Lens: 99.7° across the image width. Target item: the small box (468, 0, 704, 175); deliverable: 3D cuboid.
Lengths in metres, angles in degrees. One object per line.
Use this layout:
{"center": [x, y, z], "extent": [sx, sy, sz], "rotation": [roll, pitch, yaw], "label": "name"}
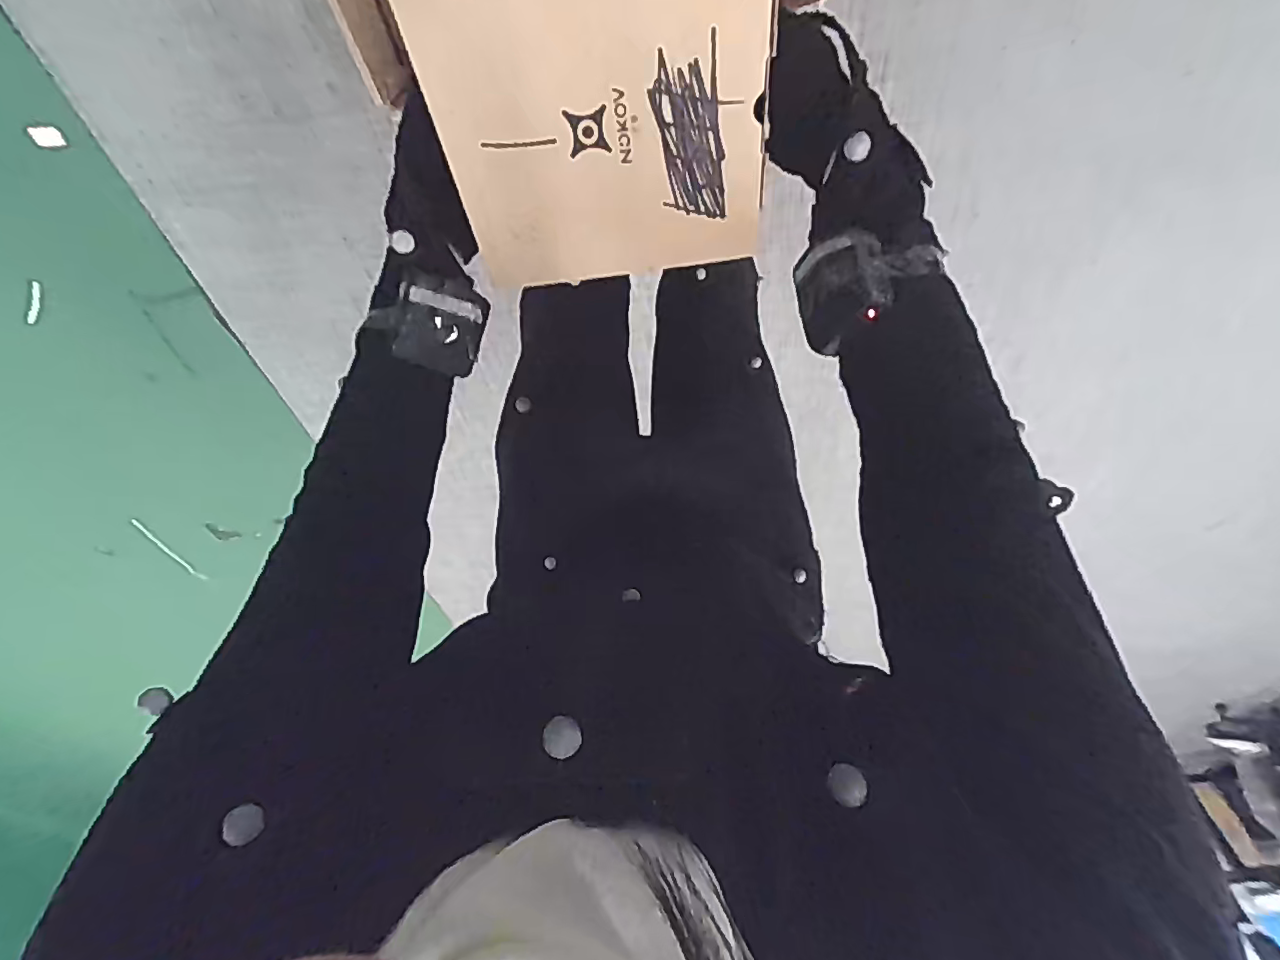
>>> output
{"center": [-0.039, -0.389, 0.447], "extent": [0.168, 0.176, 0.179], "rotation": [-7, 140, 6], "label": "small box"}
